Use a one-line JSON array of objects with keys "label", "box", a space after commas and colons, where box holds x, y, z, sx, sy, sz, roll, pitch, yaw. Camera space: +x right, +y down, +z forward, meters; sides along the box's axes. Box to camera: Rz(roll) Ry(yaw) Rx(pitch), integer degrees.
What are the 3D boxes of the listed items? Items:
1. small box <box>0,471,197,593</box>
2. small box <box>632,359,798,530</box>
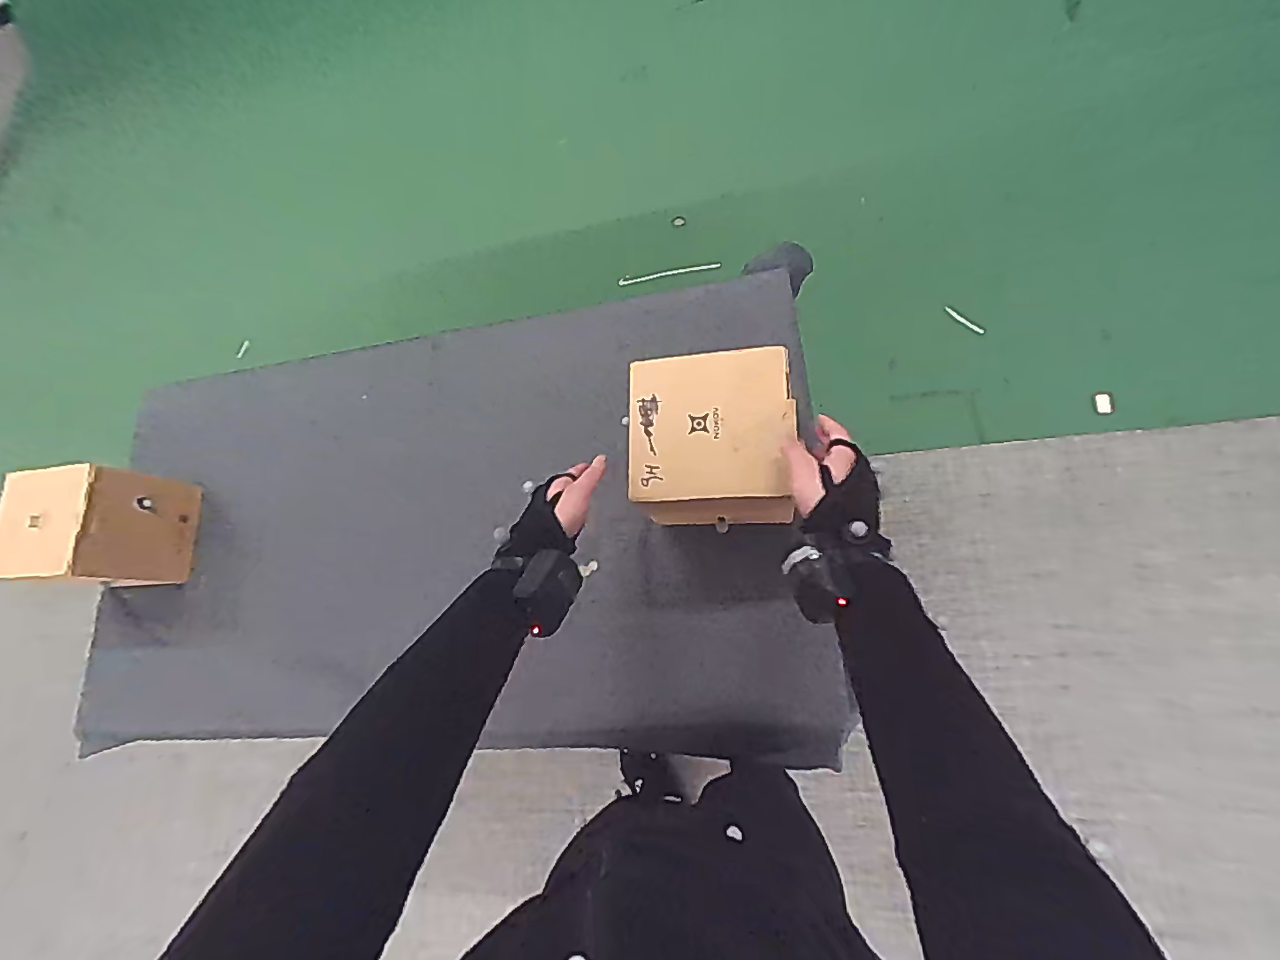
[{"label": "small box", "box": [-0.859, 0.088, 0.856, 0.179, 0.176, 0.168, -3, 74, 13]}, {"label": "small box", "box": [0.094, -0.032, 0.663, 0.179, 0.176, 0.168, -3, 76, 13]}]
